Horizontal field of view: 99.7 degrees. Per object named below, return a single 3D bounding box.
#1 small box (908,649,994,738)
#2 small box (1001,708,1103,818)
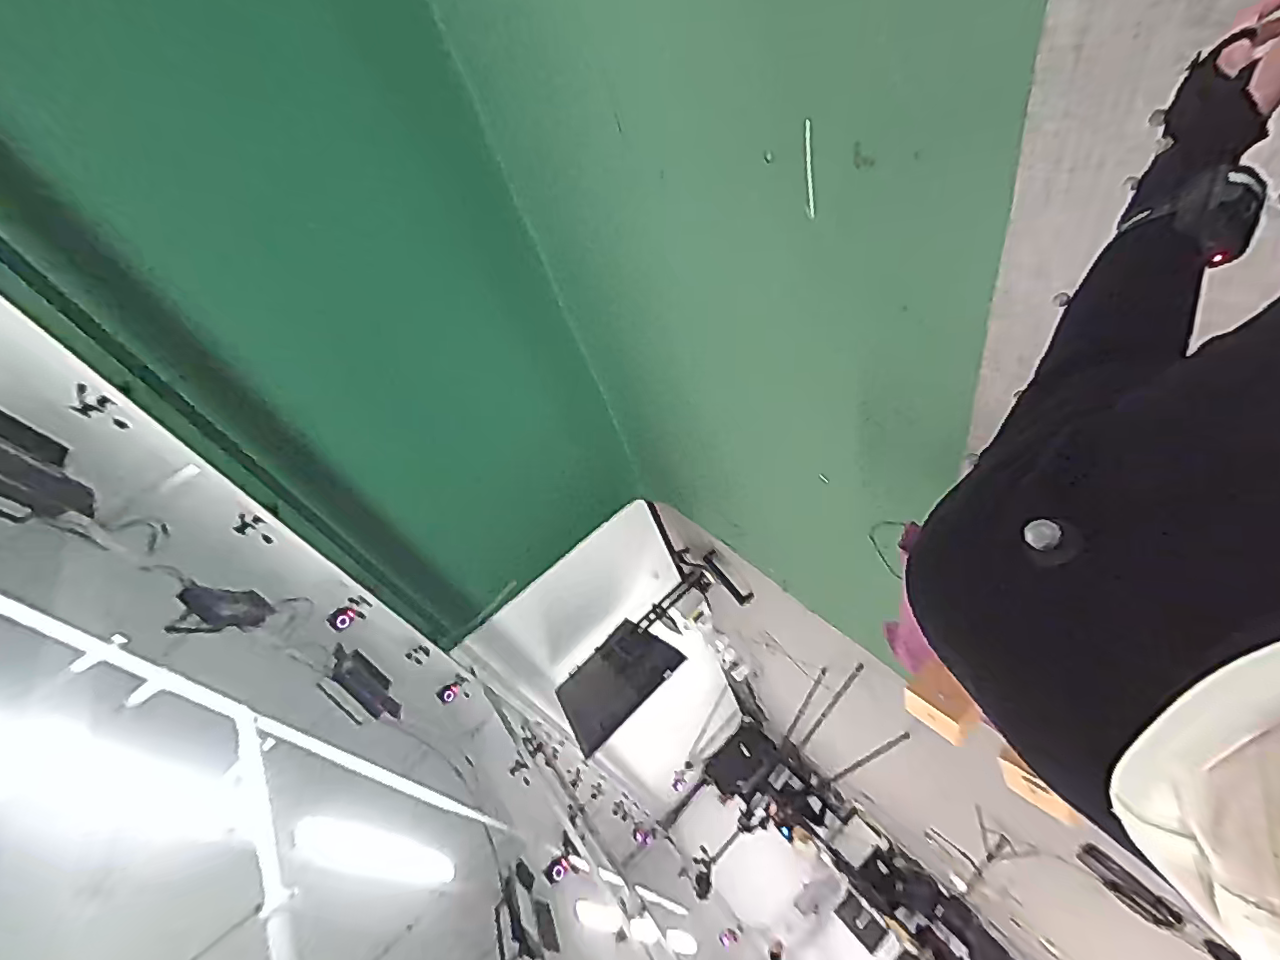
[{"bbox_3d":[0.982,0.667,1.716,0.179,0.176,0.168,31,156,46],"label":"small box"},{"bbox_3d":[1.150,0.780,1.508,0.179,0.176,0.168,58,163,-26],"label":"small box"}]
